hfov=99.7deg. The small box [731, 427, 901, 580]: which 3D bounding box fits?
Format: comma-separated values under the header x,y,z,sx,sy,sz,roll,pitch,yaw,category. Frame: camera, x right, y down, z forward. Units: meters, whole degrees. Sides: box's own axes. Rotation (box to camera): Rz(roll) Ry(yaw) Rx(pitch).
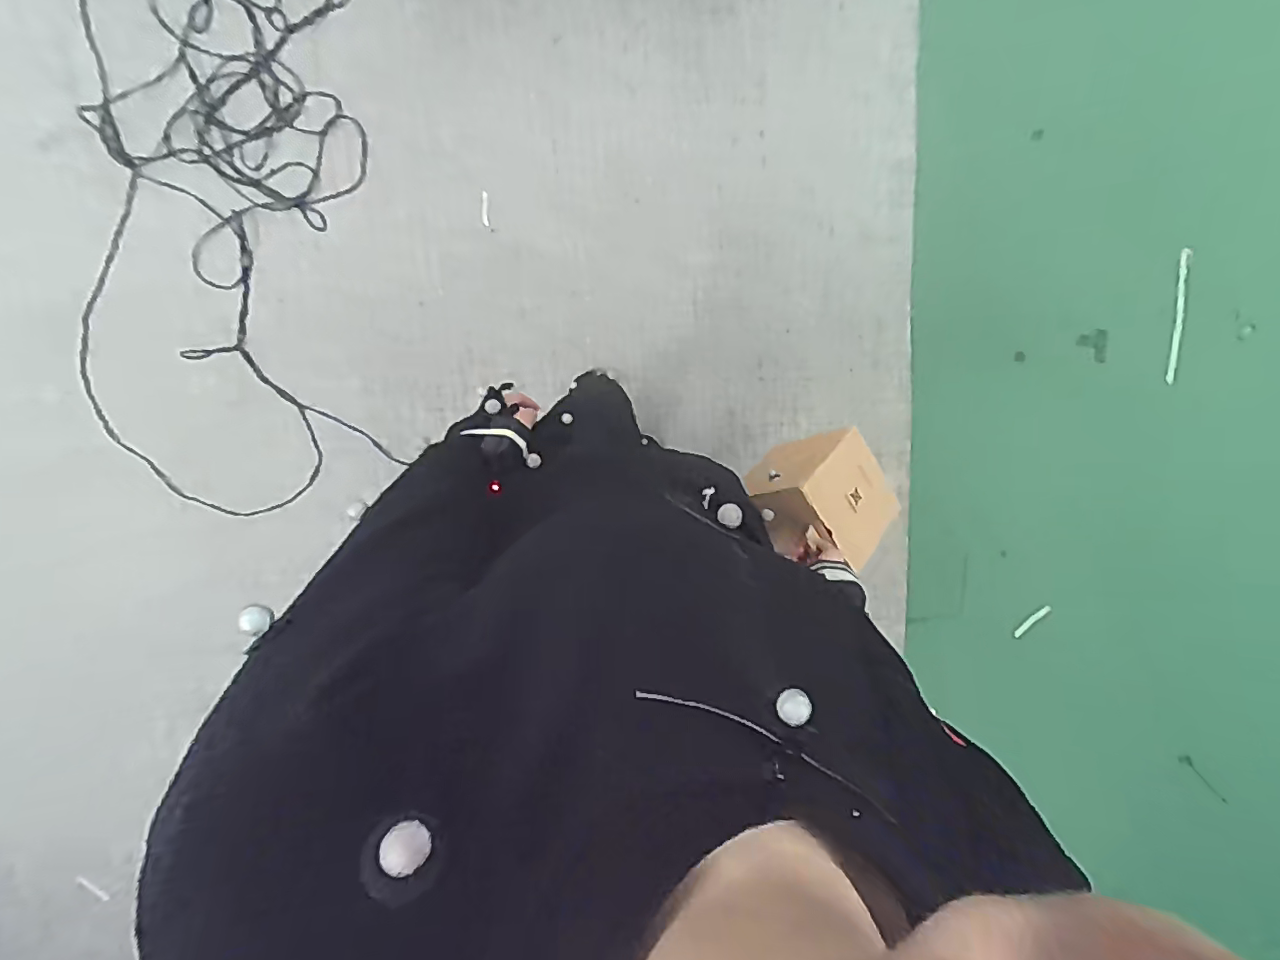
x,y,z,sx,sy,sz,roll,pitch,yaw,category
0.269,0.045,0.855,0.179,0.176,0.168,-42,104,-34,small box
